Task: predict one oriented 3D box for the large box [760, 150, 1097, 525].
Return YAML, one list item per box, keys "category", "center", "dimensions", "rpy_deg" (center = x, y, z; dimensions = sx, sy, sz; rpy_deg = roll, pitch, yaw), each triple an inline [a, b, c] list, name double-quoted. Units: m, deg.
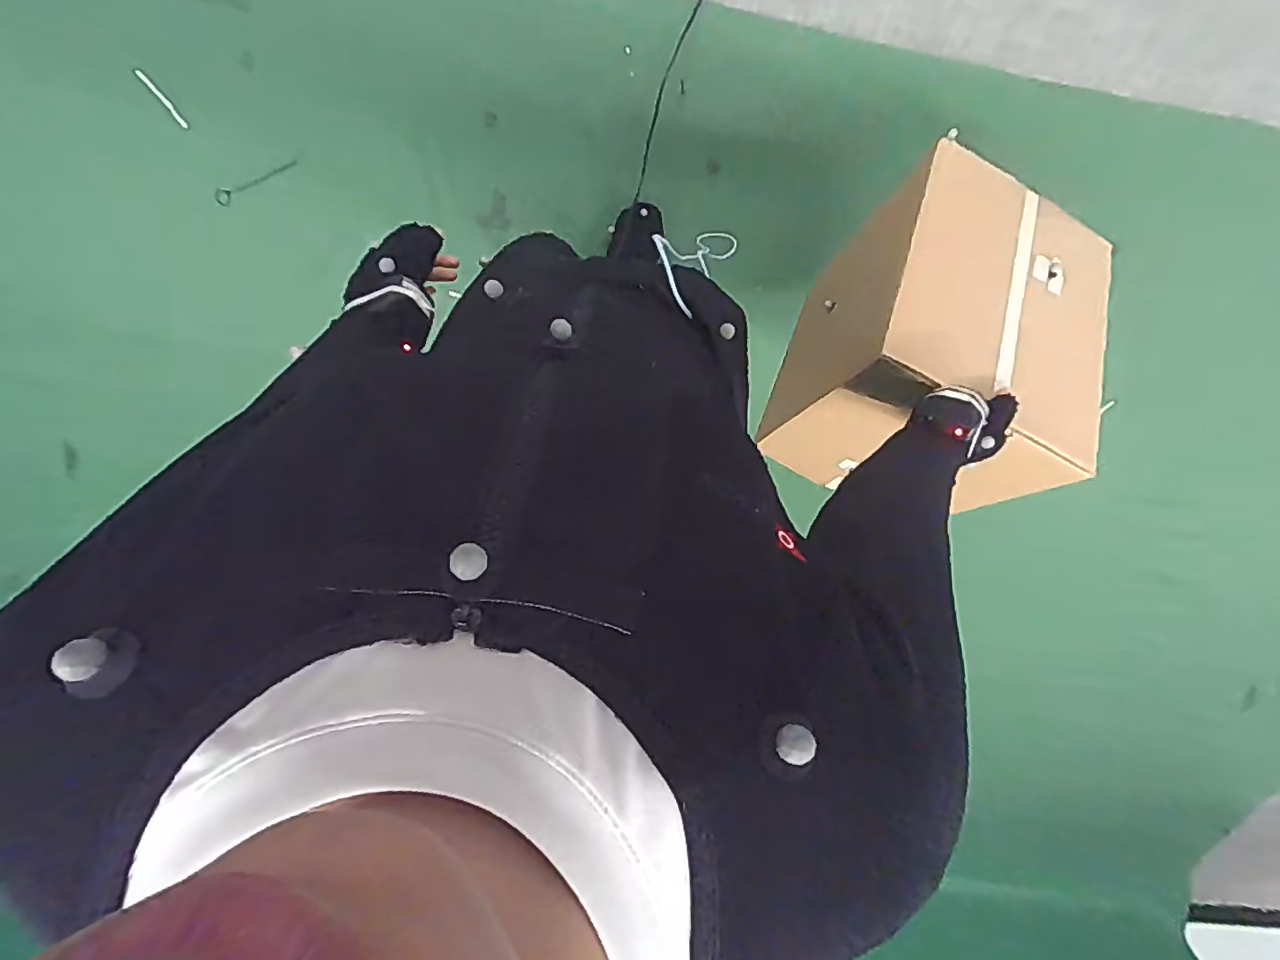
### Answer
- category: "large box"
  center: [0.436, -0.193, 0.850]
  dimensions: [0.320, 0.408, 0.320]
  rpy_deg: [27, 157, -9]
